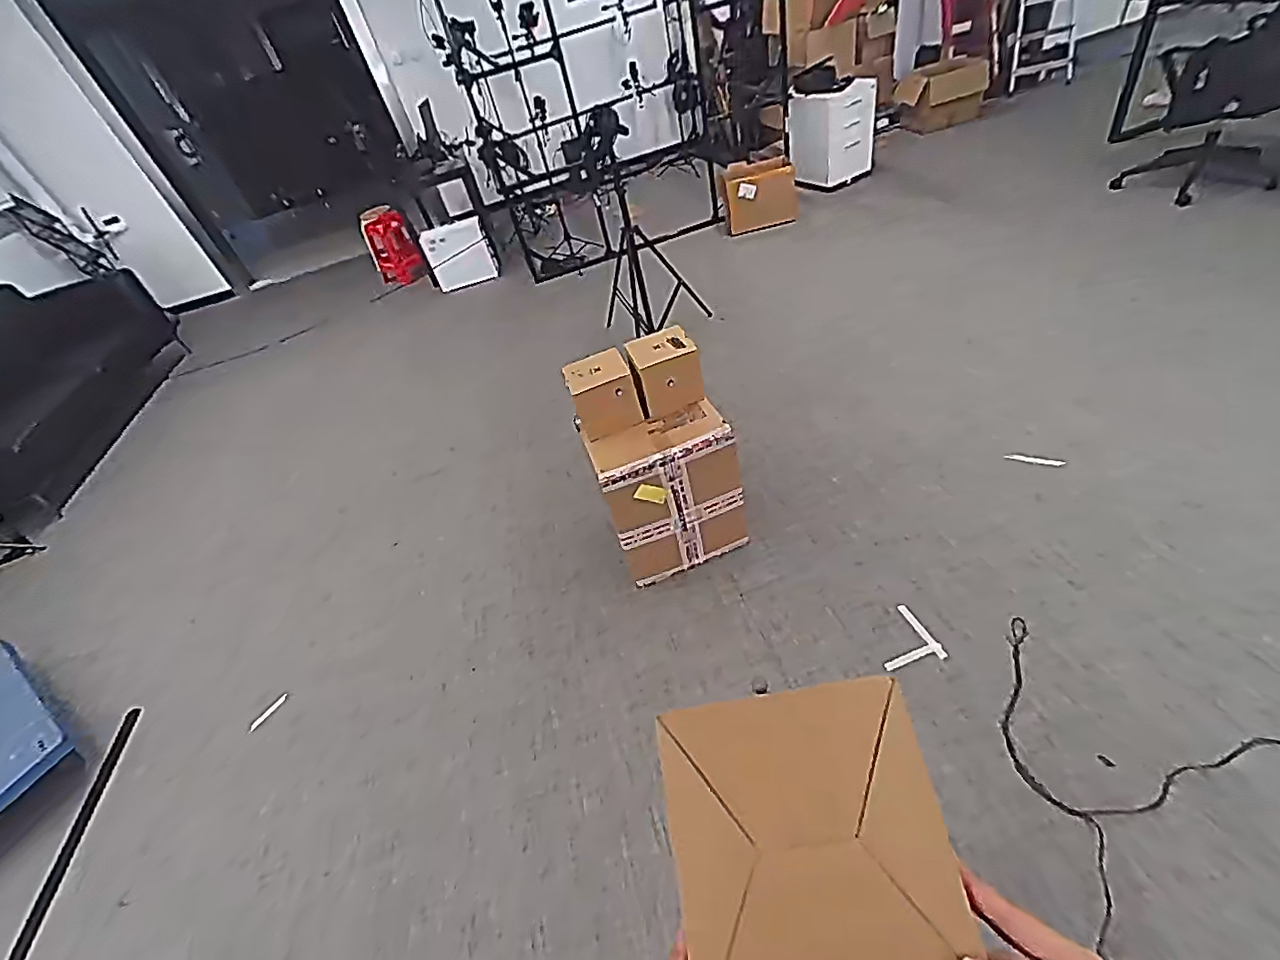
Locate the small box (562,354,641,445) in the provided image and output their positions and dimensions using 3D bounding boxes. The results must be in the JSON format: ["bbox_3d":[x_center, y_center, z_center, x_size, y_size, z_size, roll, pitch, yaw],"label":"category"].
[{"bbox_3d":[-0.106,-0.232,1.578,0.179,0.176,0.168,-22,42,-2],"label":"small box"}]

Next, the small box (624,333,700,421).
[{"bbox_3d":[0.070,-0.302,1.595,0.179,0.176,0.168,-20,42,-5],"label":"small box"}]
